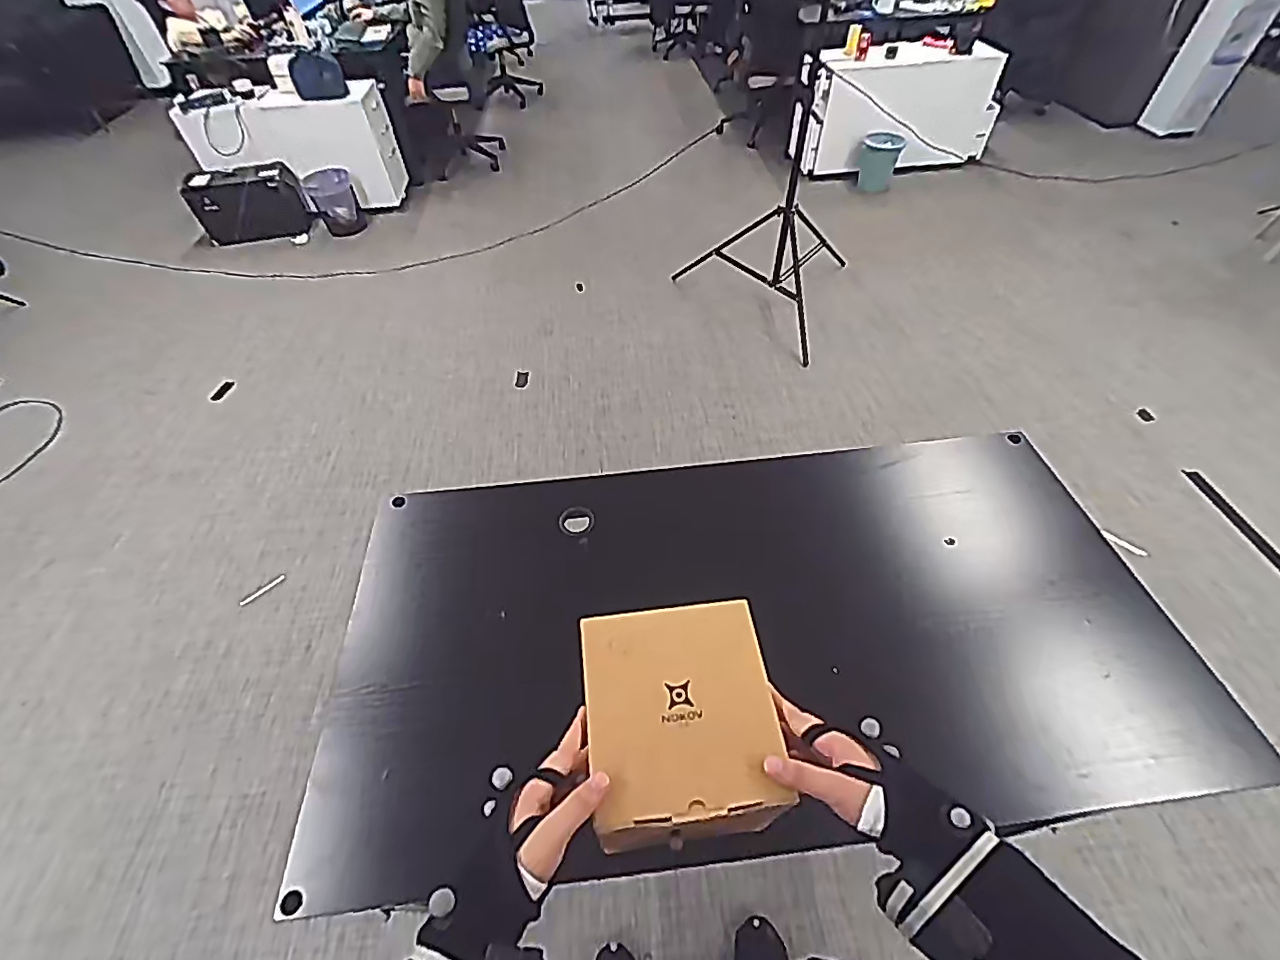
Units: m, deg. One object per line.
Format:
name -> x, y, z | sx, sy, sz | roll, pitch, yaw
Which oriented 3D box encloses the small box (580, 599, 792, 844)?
small box -> 0.030, 0.241, 0.538 | 0.168, 0.176, 0.179 | -6, 52, -4
